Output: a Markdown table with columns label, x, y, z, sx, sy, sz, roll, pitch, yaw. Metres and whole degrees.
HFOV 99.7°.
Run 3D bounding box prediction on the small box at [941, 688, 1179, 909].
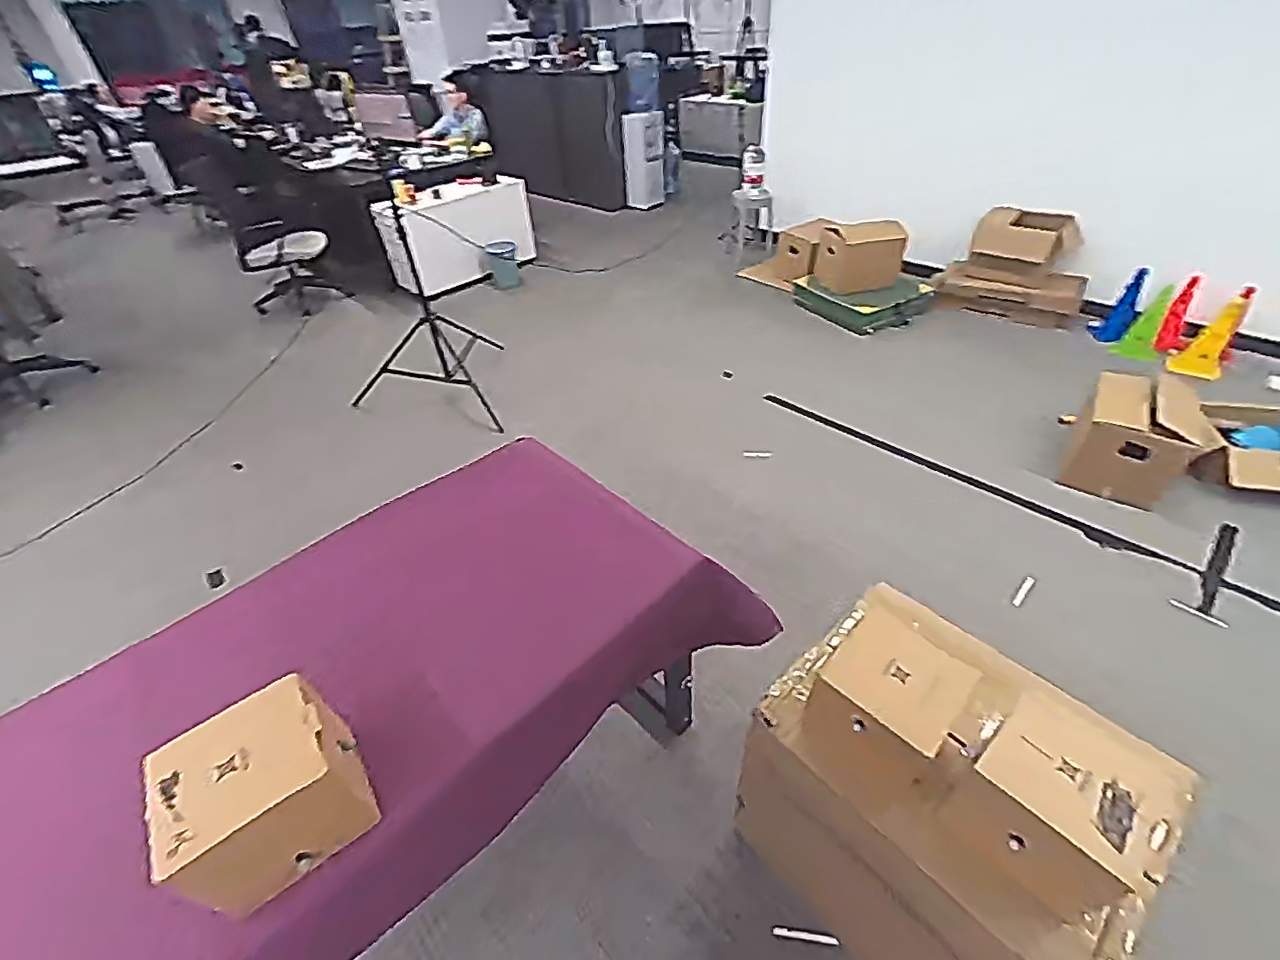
| label | x | y | z | sx | sy | sz | roll | pitch | yaw |
| --- | --- | --- | --- | --- | --- | --- | --- | --- | --- |
| small box | 0.545 | 0.427 | 0.724 | 0.168 | 0.176 | 0.179 | -32 | 46 | -27 |

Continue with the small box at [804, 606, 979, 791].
| label | x | y | z | sx | sy | sz | roll | pitch | yaw |
| --- | --- | --- | --- | --- | --- | --- | --- | --- | --- |
| small box | 0.378 | 0.340 | 0.842 | 0.168 | 0.176 | 0.179 | -36 | 51 | -29 |

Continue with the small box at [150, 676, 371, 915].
| label | x | y | z | sx | sy | sz | roll | pitch | yaw |
| --- | --- | --- | --- | --- | --- | --- | --- | --- | --- |
| small box | -0.469 | 0.397 | 0.690 | 0.179 | 0.176 | 0.168 | -29 | 46 | -27 |
